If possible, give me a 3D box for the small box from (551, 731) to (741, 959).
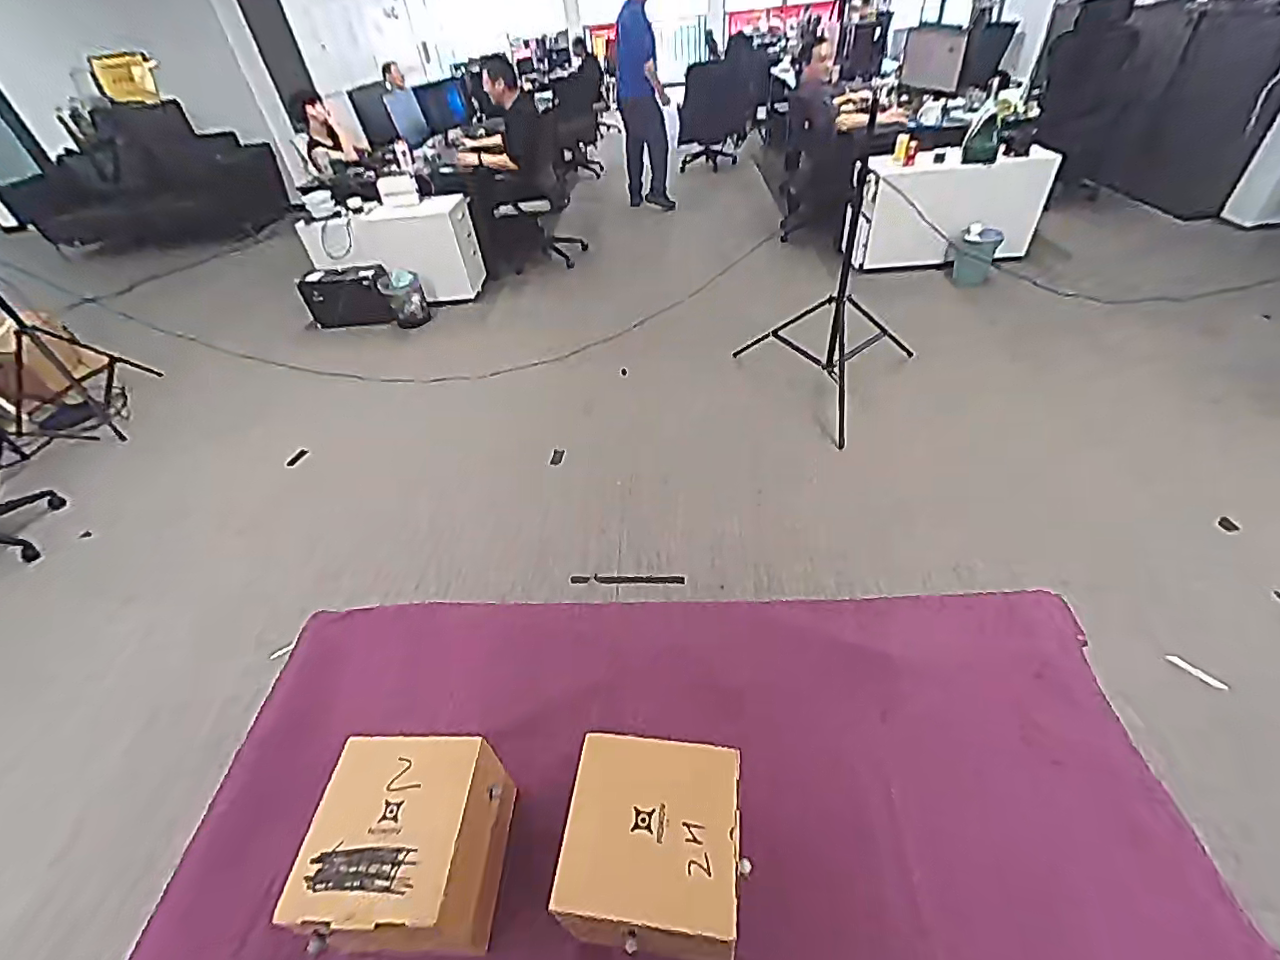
[{"bbox_3d":[0.020,0.403,0.599,0.179,0.176,0.168,2,43,10],"label":"small box"}]
